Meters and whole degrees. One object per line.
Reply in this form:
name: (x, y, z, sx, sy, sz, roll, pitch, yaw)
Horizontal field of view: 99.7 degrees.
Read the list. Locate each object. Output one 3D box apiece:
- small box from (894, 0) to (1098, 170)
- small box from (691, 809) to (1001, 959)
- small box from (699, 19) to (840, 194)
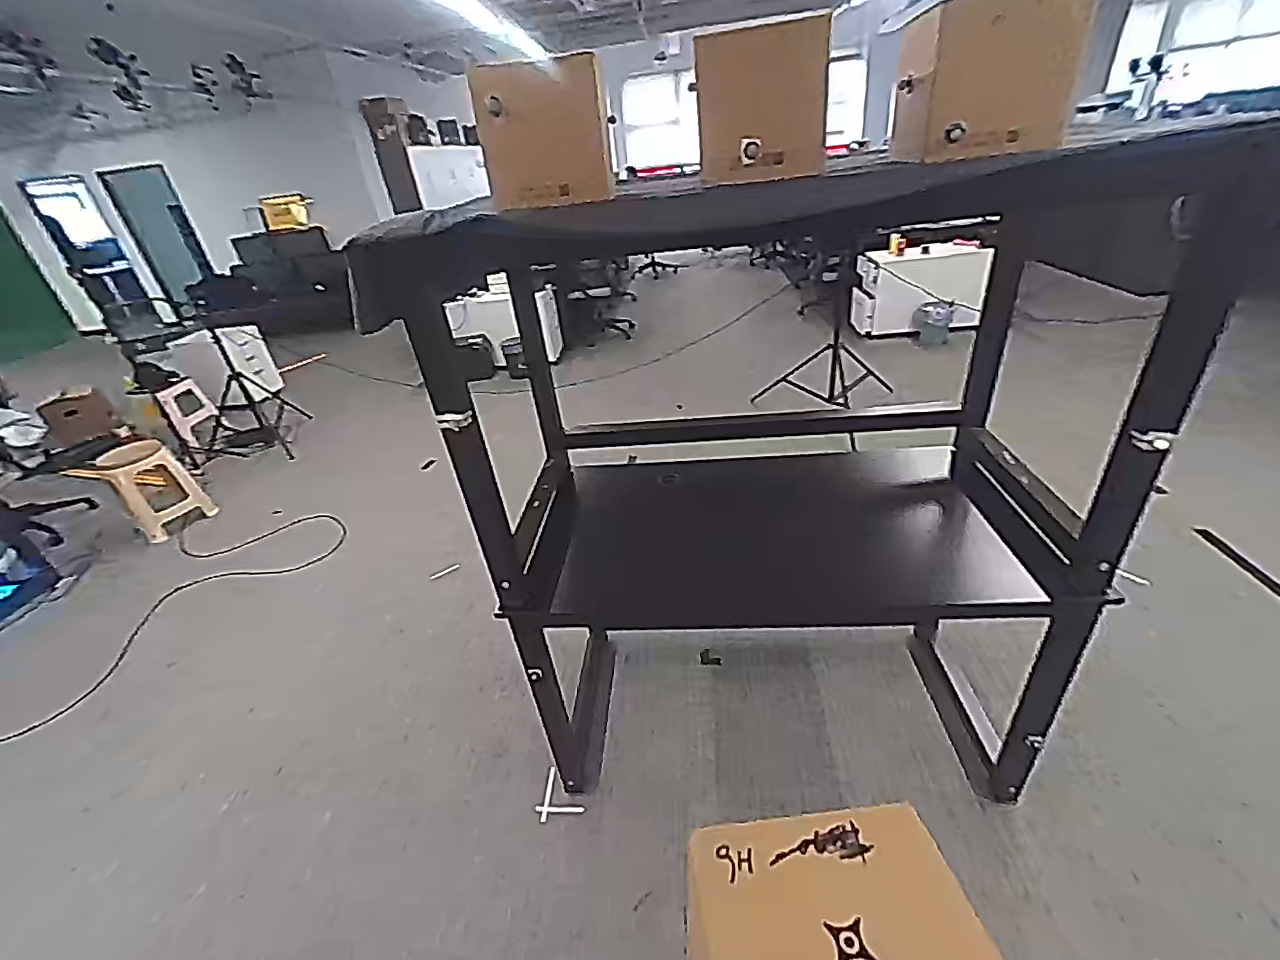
small box: (0.452, -0.516, 0.714, 0.168, 0.176, 0.179, -2, 30, 9)
small box: (0.129, 0.352, 0.340, 0.168, 0.176, 0.179, -5, 25, -4)
small box: (0.170, -0.497, 0.745, 0.168, 0.176, 0.179, -2, 30, 10)
